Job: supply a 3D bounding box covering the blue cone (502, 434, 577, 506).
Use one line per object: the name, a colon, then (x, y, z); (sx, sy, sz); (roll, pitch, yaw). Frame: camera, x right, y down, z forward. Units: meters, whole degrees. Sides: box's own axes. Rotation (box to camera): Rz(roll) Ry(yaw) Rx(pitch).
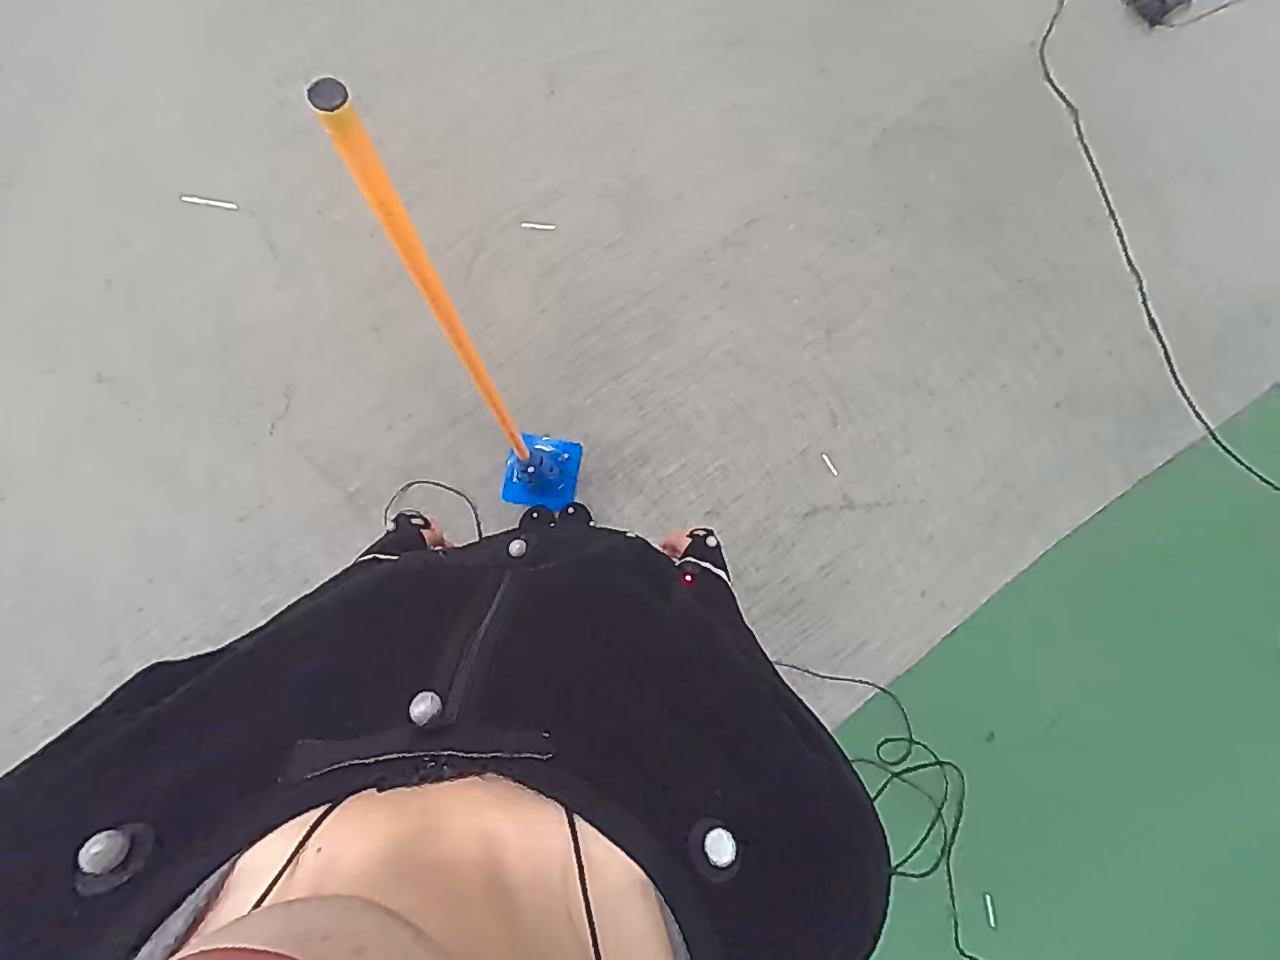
blue cone: (-0.263, -0.045, 1.322); (0.192, 0.380, 0.193); (9, 84, -4)
